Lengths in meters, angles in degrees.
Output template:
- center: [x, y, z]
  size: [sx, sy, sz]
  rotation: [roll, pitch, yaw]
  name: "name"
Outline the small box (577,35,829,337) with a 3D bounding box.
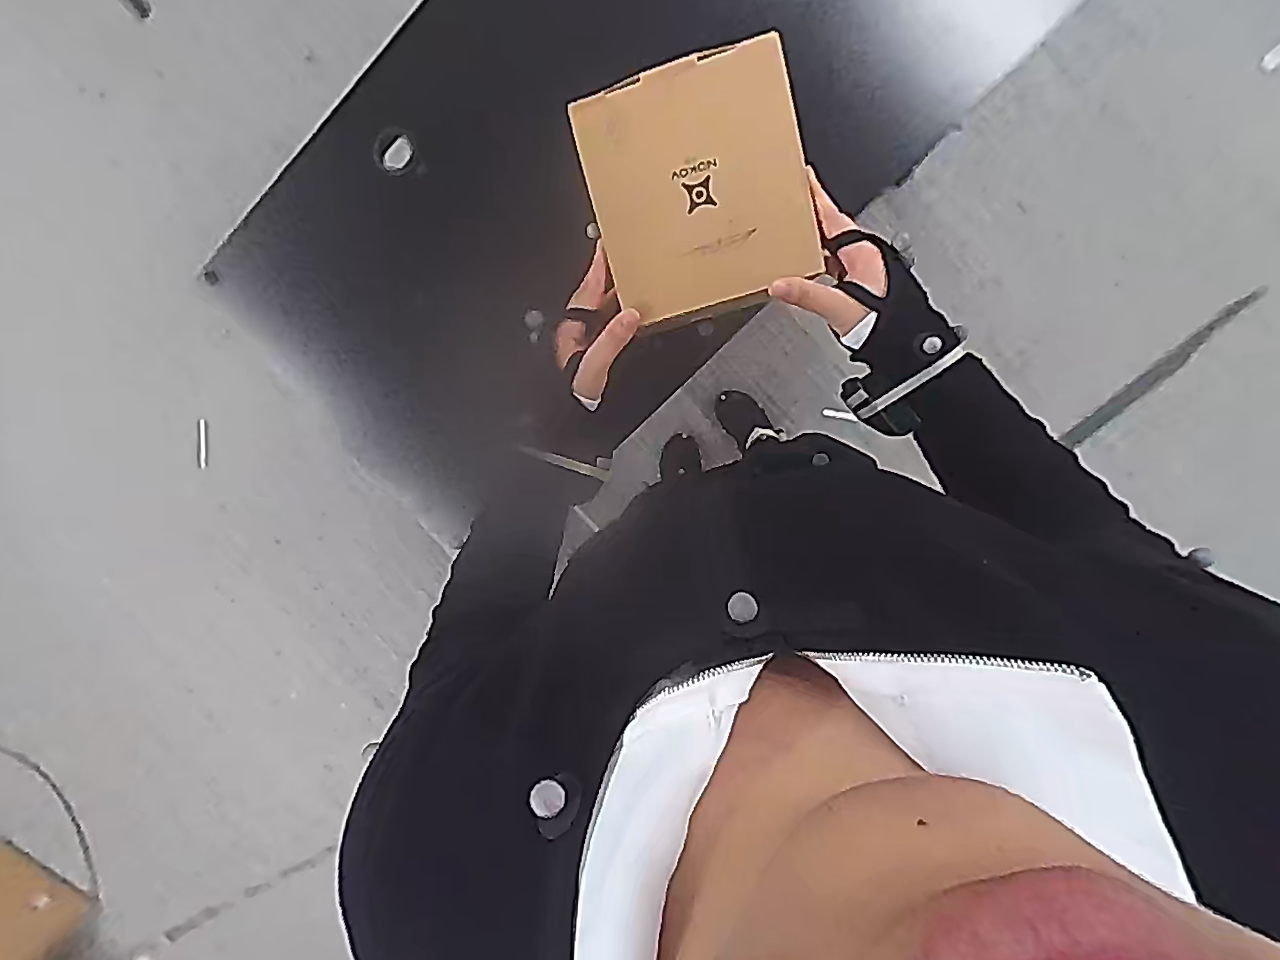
- center: [0.054, -0.237, 0.489]
  size: [0.168, 0.176, 0.179]
  rotation: [-13, 102, 7]
  name: "small box"
